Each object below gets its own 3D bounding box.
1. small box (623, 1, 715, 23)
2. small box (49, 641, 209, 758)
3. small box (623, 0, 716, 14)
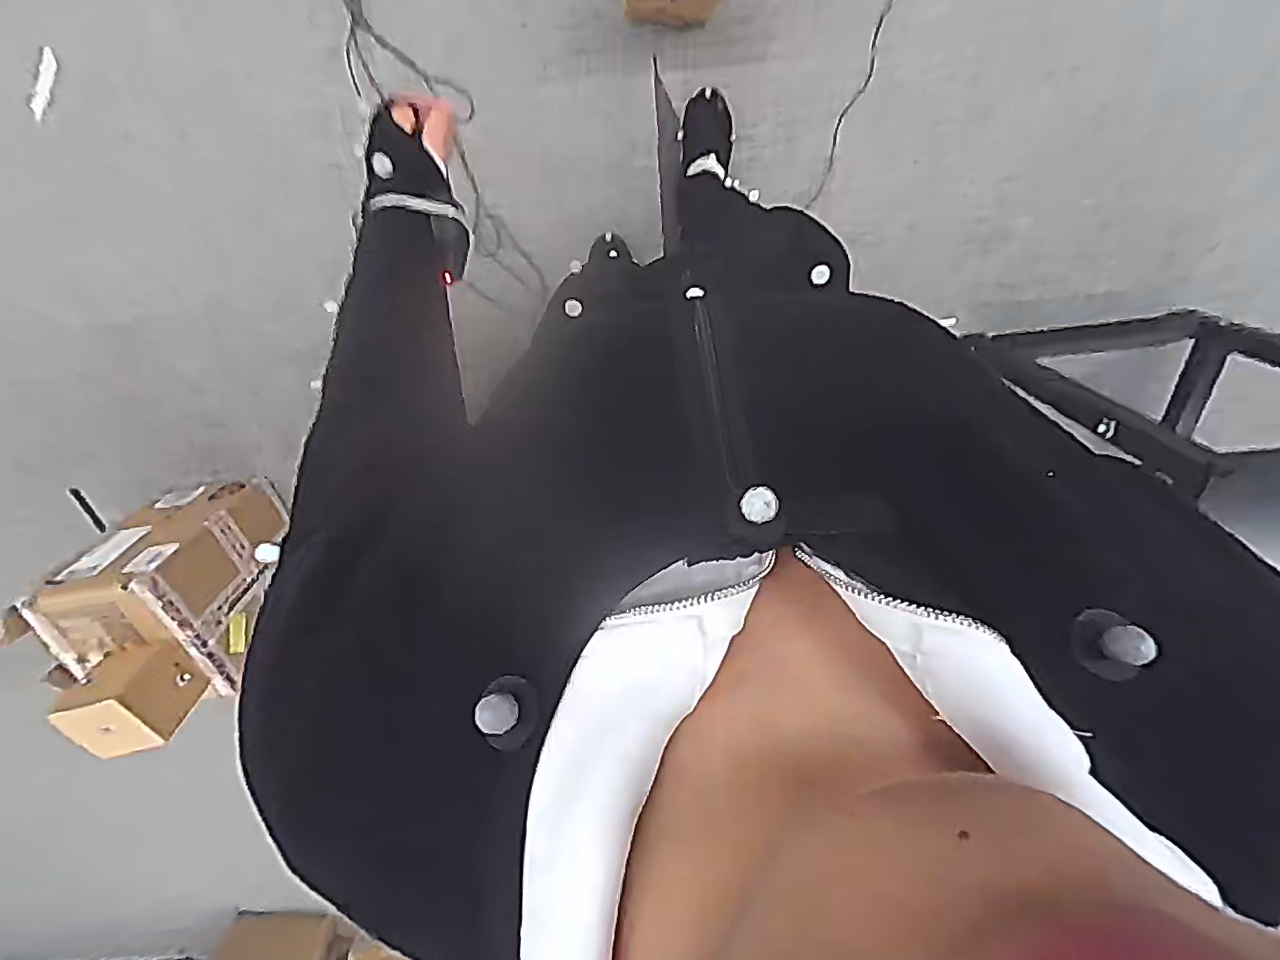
[{"bbox_3d":[0.056,-0.954,0.981,0.179,0.176,0.168,1,120,-1],"label":"small box"},{"bbox_3d":[-1.179,0.509,1.266,0.179,0.176,0.168,-17,121,4],"label":"small box"},{"bbox_3d":[0.053,-0.861,0.845,0.179,0.176,0.168,-5,120,3],"label":"small box"}]
